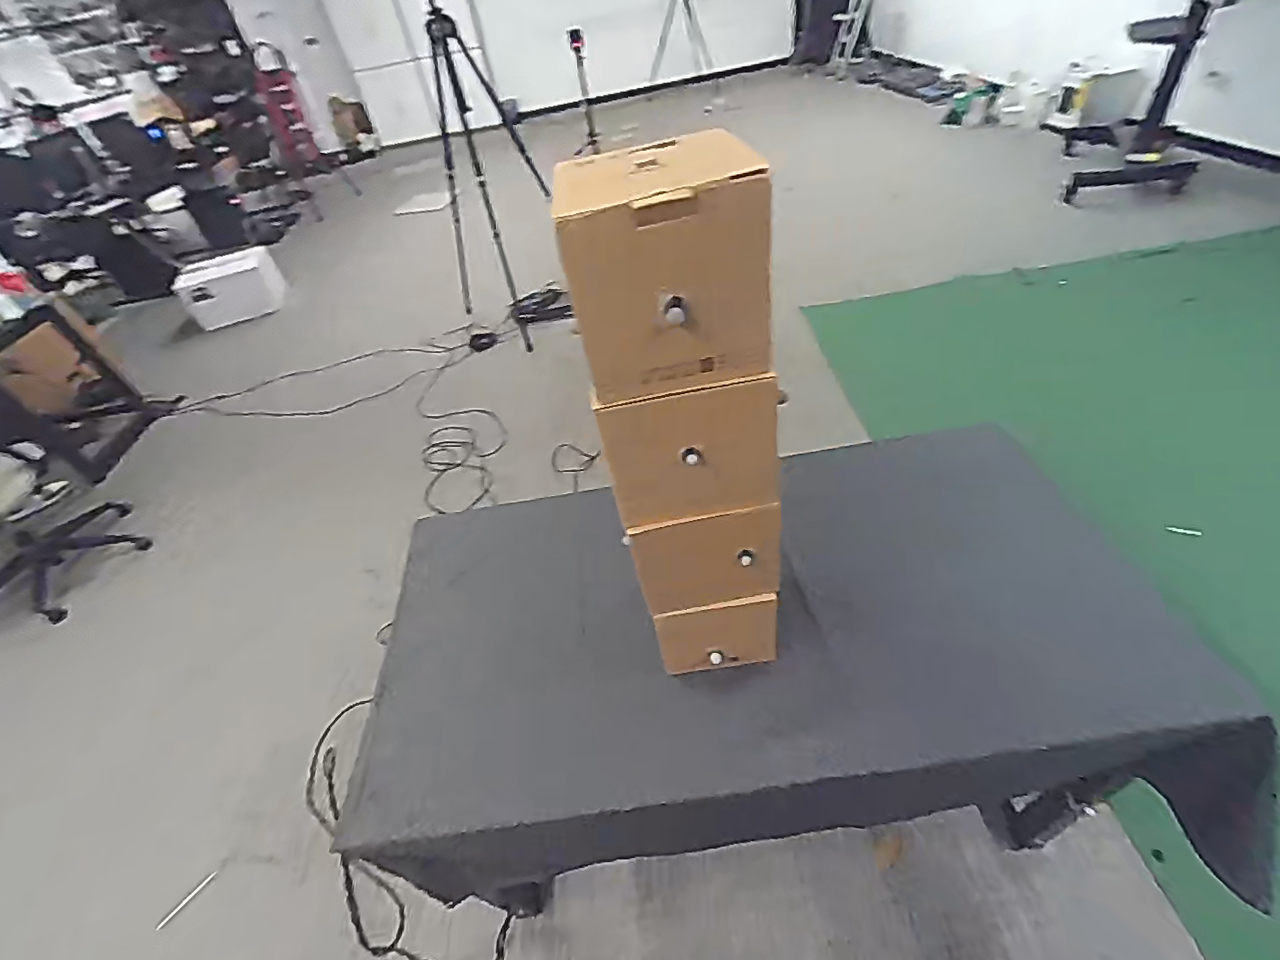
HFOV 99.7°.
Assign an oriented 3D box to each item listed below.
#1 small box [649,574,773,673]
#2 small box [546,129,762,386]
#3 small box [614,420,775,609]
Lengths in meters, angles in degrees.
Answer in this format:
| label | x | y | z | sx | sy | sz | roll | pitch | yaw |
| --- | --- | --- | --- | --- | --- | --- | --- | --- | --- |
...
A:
| label | x | y | z | sx | sy | sz | roll | pitch | yaw |
| --- | --- | --- | --- | --- | --- | --- | --- | --- | --- |
| small box | 0.099 | 0.166 | 0.823 | 0.168 | 0.176 | 0.179 | -9 | 43 | 3 |
| small box | 0.015 | -0.203 | 0.511 | 0.168 | 0.176 | 0.179 | -11 | 42 | 2 |
| small box | 0.069 | 0.047 | 0.715 | 0.179 | 0.176 | 0.168 | -11 | 42 | 1 |
